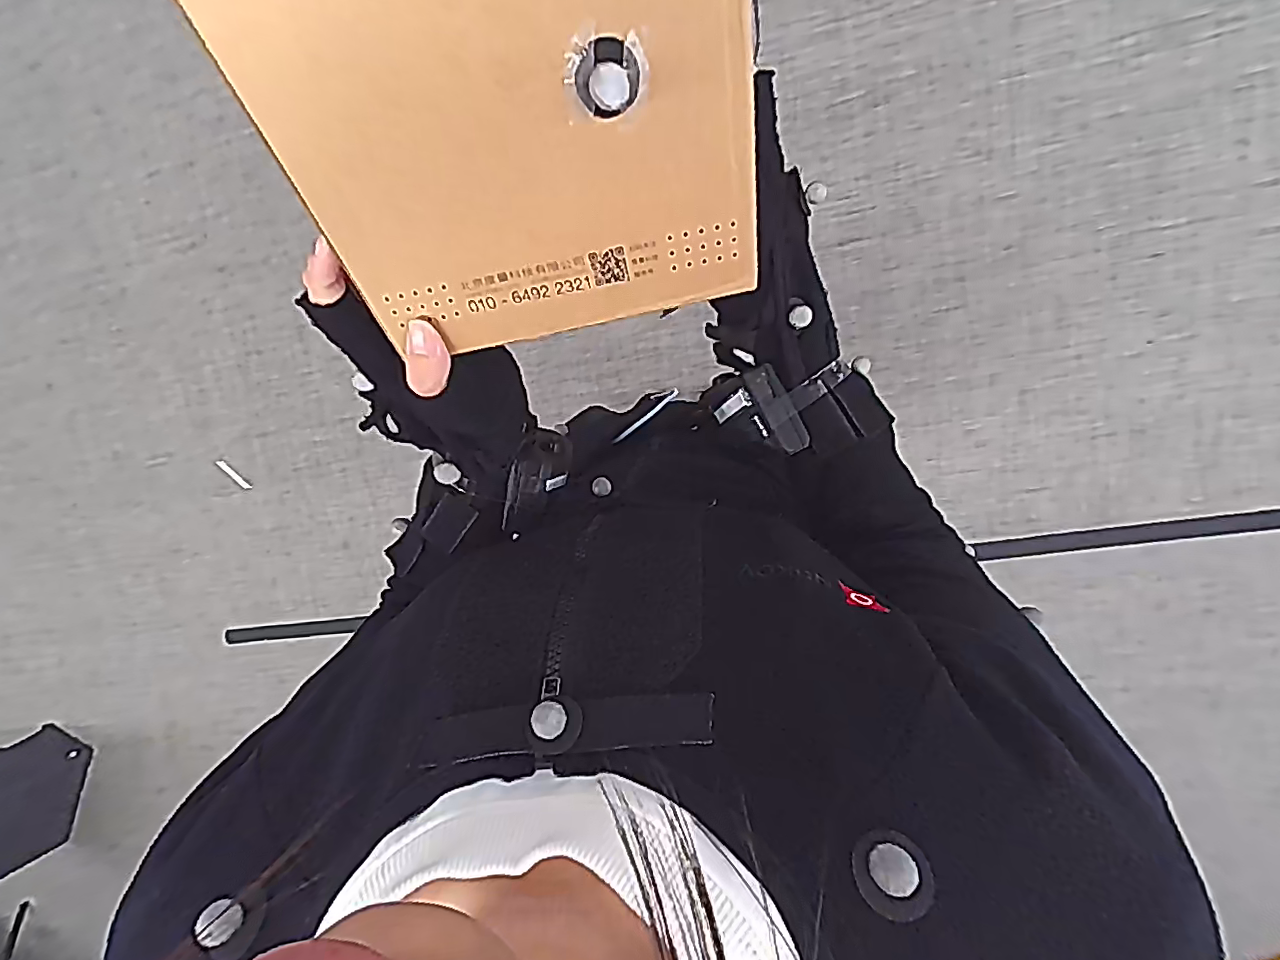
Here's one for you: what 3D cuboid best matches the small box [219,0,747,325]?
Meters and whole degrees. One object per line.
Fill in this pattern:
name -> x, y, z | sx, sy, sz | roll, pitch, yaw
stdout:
small box -> -0.046, -0.192, 0.259 | 0.168, 0.179, 0.176 | -10, 138, 5
